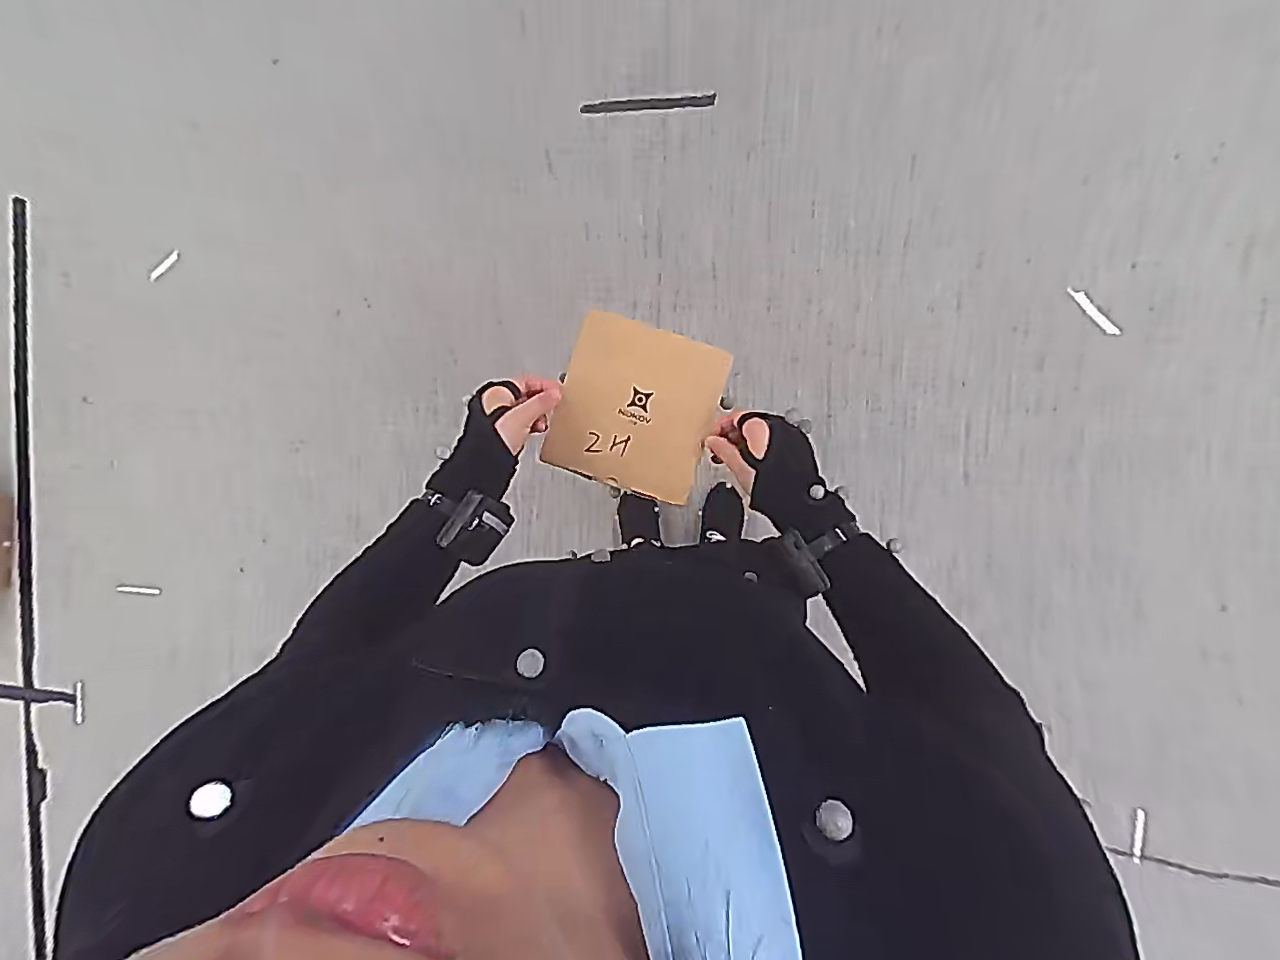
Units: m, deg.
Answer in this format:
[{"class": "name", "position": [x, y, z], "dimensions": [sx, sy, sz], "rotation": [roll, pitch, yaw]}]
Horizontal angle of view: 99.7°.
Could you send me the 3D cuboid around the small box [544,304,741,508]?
[{"class": "small box", "position": [0.003, -0.076, 0.642], "dimensions": [0.168, 0.176, 0.179], "rotation": [19, 89, 2]}]
